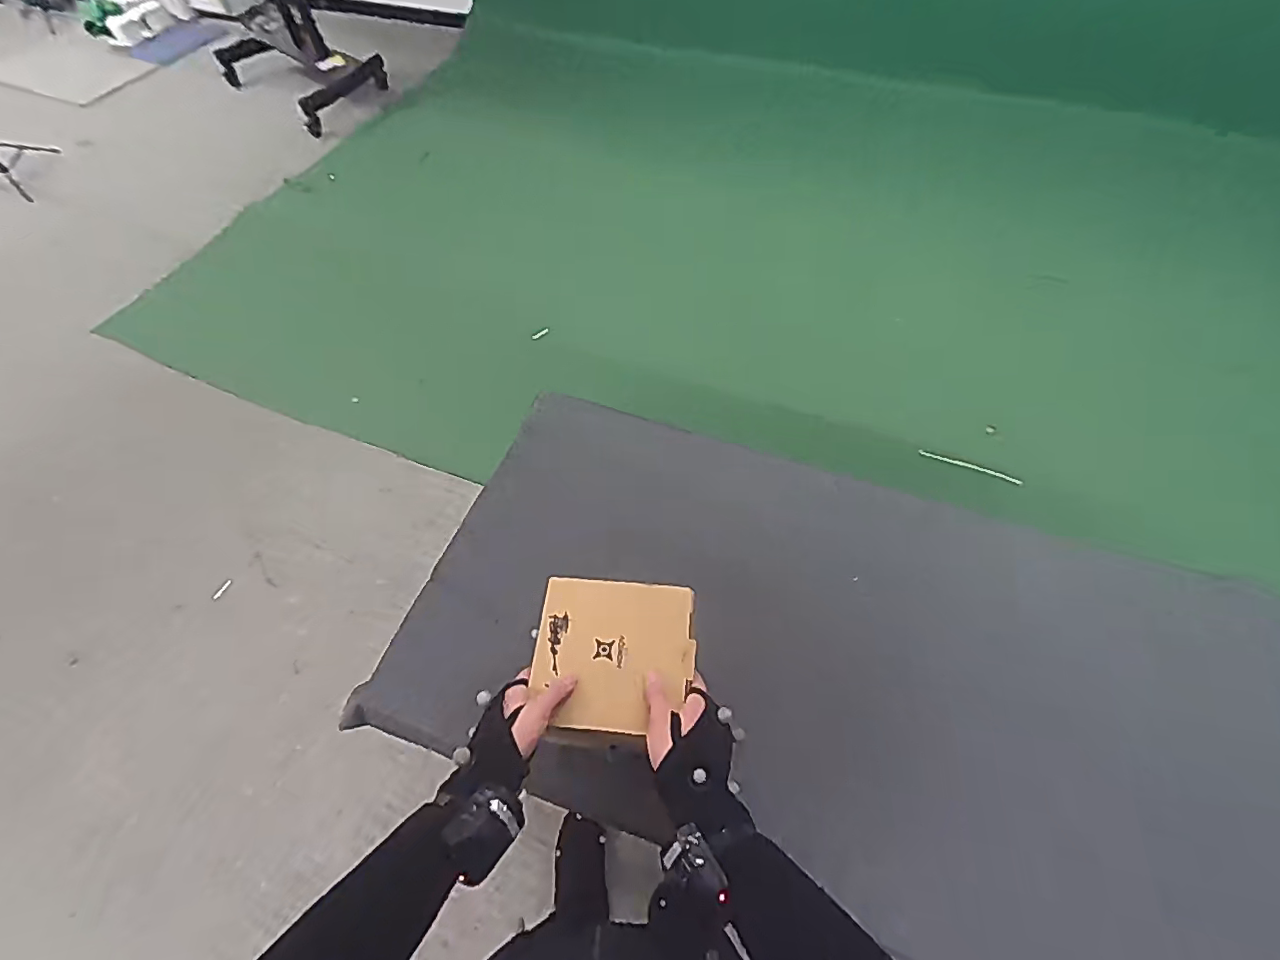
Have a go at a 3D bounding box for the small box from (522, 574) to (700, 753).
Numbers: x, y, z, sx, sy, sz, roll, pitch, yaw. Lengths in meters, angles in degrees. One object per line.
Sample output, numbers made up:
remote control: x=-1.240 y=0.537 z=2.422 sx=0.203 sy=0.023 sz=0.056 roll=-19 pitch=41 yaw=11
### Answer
small box: x=-0.026 y=0.230 z=0.663 sx=0.179 sy=0.176 sz=0.168 roll=6 pitch=58 yaw=5
